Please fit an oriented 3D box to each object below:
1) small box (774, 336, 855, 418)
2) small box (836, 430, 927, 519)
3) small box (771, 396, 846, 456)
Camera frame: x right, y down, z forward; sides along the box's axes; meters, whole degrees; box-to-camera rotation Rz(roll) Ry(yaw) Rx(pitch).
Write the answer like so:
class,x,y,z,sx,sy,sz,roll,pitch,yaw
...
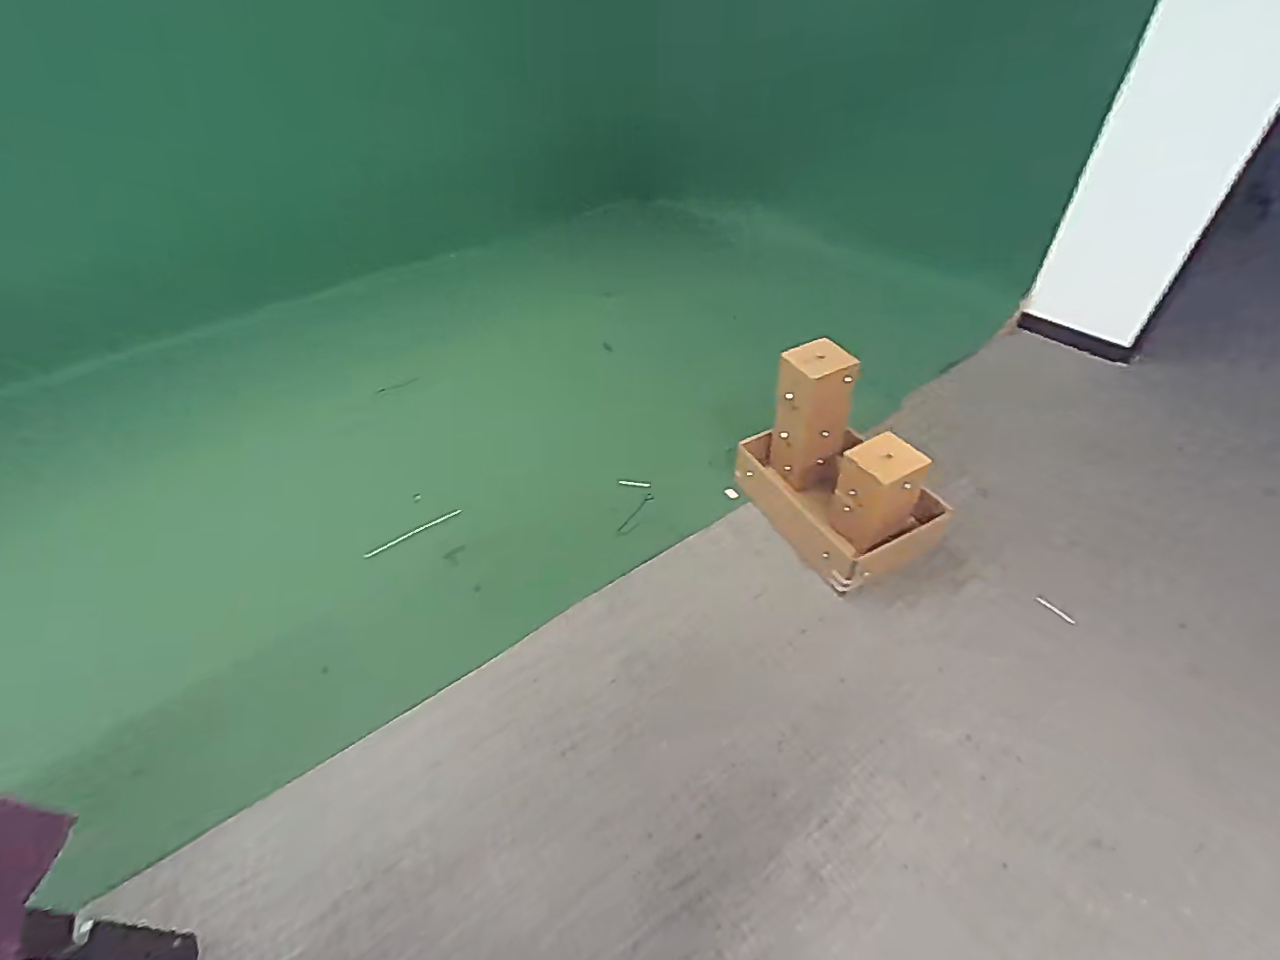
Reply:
class,x,y,z,sx,sy,sz,roll,pitch,yaw
small box,0.548,-0.326,1.723,0.179,0.176,0.168,-22,48,-14
small box,0.716,-0.016,1.626,0.179,0.176,0.168,-25,47,-15
small box,0.566,-0.210,1.839,0.179,0.176,0.168,-21,48,-12
